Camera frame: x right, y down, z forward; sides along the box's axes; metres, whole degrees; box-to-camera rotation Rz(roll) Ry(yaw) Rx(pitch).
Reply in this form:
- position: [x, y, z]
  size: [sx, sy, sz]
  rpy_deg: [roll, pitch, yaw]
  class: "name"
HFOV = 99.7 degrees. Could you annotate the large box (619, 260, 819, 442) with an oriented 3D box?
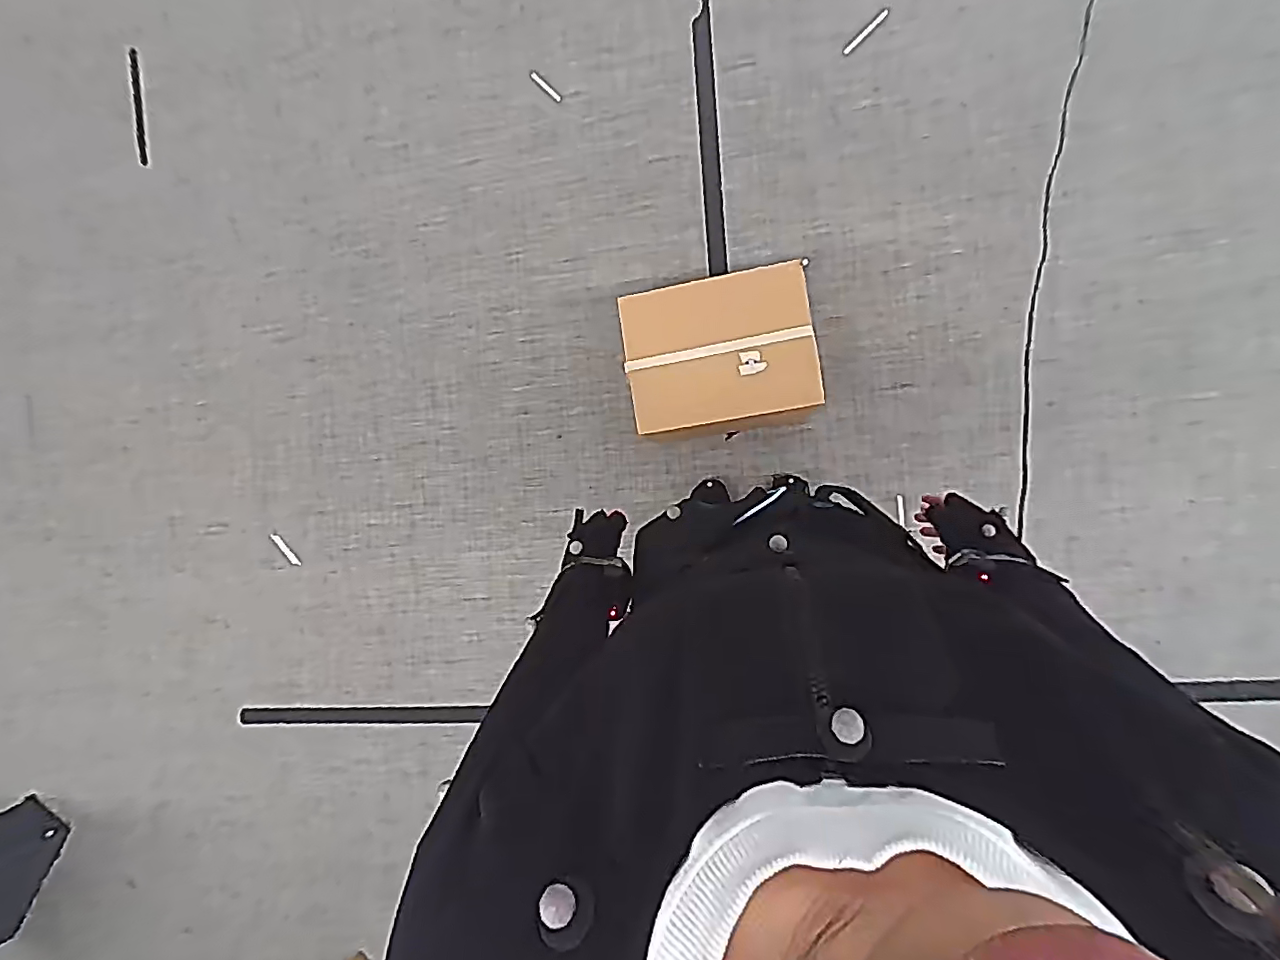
- position: [0.190, -0.287, 1.331]
  size: [0.408, 0.320, 0.320]
  rpy_deg: [-9, 89, 10]
  class: "large box"
